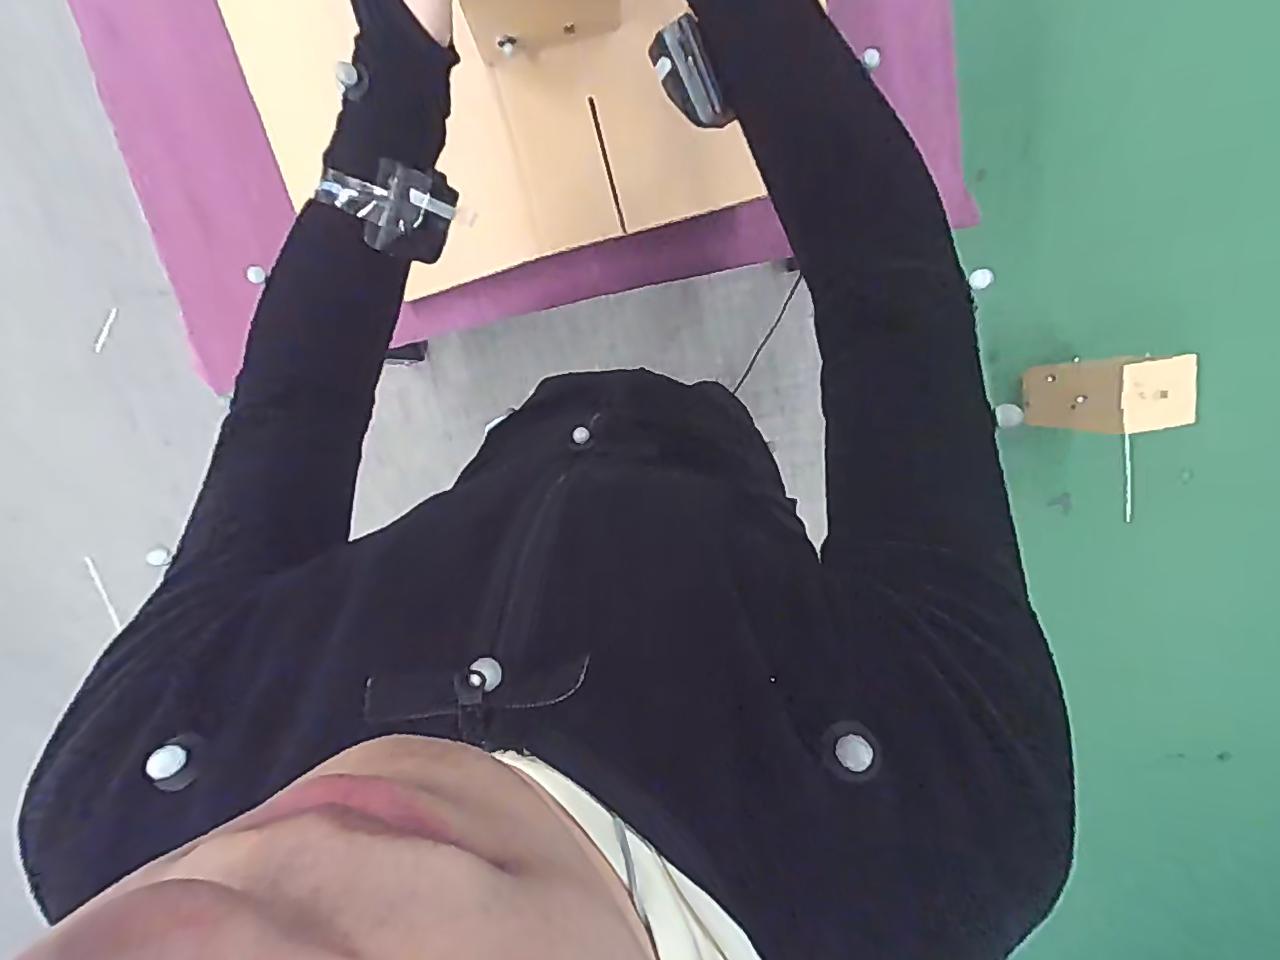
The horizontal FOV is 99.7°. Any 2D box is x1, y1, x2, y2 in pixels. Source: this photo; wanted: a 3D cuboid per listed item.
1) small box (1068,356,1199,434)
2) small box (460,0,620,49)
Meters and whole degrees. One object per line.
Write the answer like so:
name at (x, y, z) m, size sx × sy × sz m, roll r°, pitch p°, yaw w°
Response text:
small box at (1.221, -0.215, 1.347) m, size 0.179 × 0.176 × 0.168 m, roll -9°, pitch 100°, yaw 1°
small box at (-0.116, -0.560, 0.517) m, size 0.168 × 0.176 × 0.179 m, roll -16°, pitch 100°, yaw 0°
